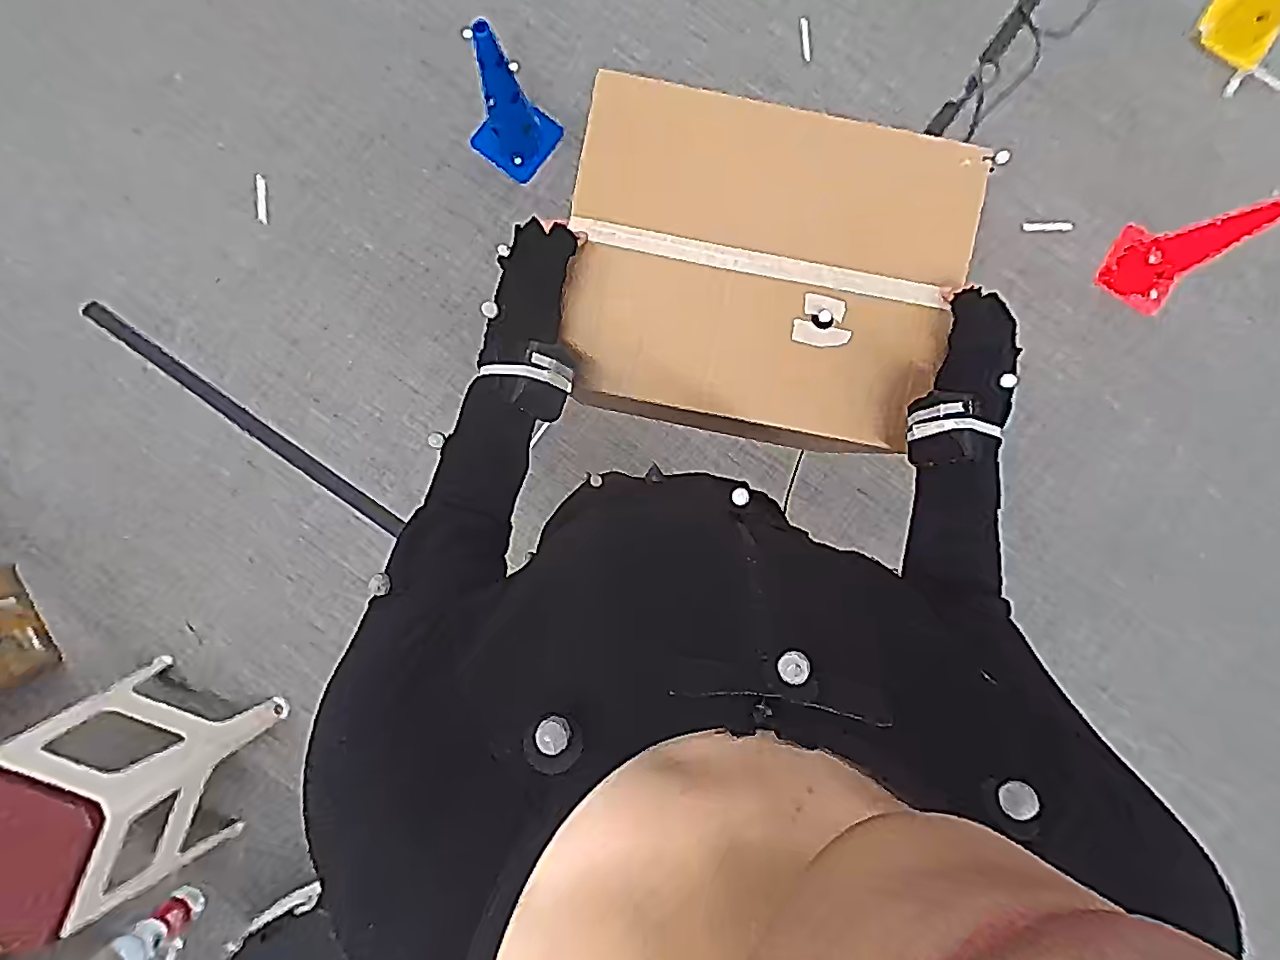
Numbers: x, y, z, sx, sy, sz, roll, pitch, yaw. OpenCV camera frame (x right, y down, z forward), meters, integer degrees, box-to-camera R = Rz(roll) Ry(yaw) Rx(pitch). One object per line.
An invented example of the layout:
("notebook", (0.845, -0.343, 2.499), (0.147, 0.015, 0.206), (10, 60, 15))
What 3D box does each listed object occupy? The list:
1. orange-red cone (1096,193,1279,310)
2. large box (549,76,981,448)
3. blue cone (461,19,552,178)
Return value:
("orange-red cone", (1.393, -0.603, 1.332), (0.198, 0.360, 0.199), (33, 87, 0))
("large box", (0.123, -0.229, 0.700), (0.408, 0.320, 0.320), (12, 93, -1))
("blue cone", (-0.360, -0.963, 1.348), (0.192, 0.380, 0.193), (39, 89, 2))
